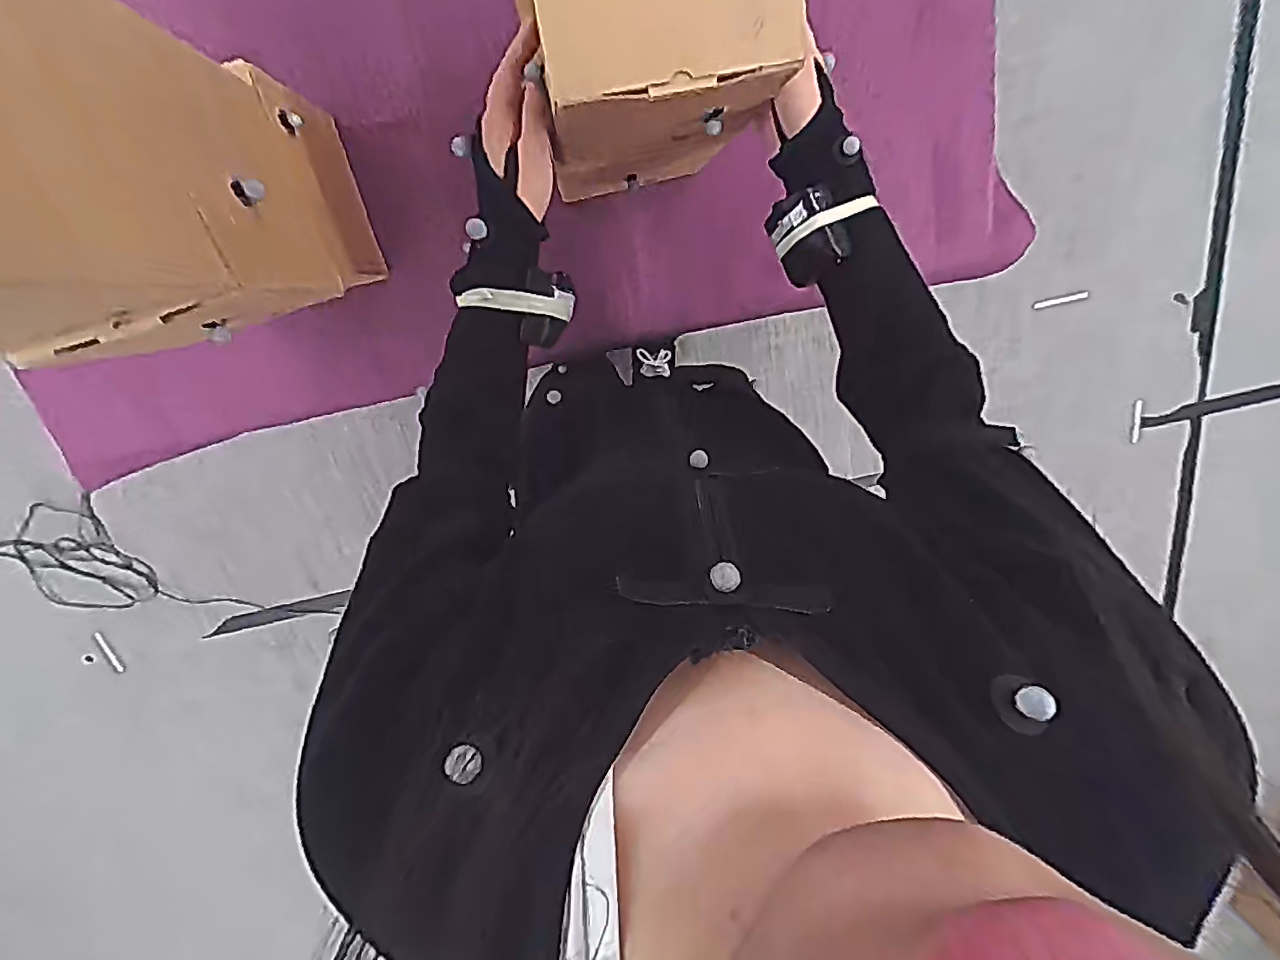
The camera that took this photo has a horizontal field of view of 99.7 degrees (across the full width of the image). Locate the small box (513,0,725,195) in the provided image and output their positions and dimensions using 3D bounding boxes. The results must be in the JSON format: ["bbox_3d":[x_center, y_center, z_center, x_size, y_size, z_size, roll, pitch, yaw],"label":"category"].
[{"bbox_3d":[-0.023,-0.401,0.543,0.168,0.176,0.179,-13,110,-1],"label":"small box"}]

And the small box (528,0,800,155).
[{"bbox_3d":[0.002,-0.354,0.389,0.168,0.176,0.179,-11,110,-3],"label":"small box"}]

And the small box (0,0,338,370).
[{"bbox_3d":[-0.369,-0.202,0.406,0.168,0.176,0.179,-18,111,1],"label":"small box"}]

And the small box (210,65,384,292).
[{"bbox_3d":[-0.393,-0.275,0.552,0.168,0.176,0.179,-14,110,-1],"label":"small box"}]
